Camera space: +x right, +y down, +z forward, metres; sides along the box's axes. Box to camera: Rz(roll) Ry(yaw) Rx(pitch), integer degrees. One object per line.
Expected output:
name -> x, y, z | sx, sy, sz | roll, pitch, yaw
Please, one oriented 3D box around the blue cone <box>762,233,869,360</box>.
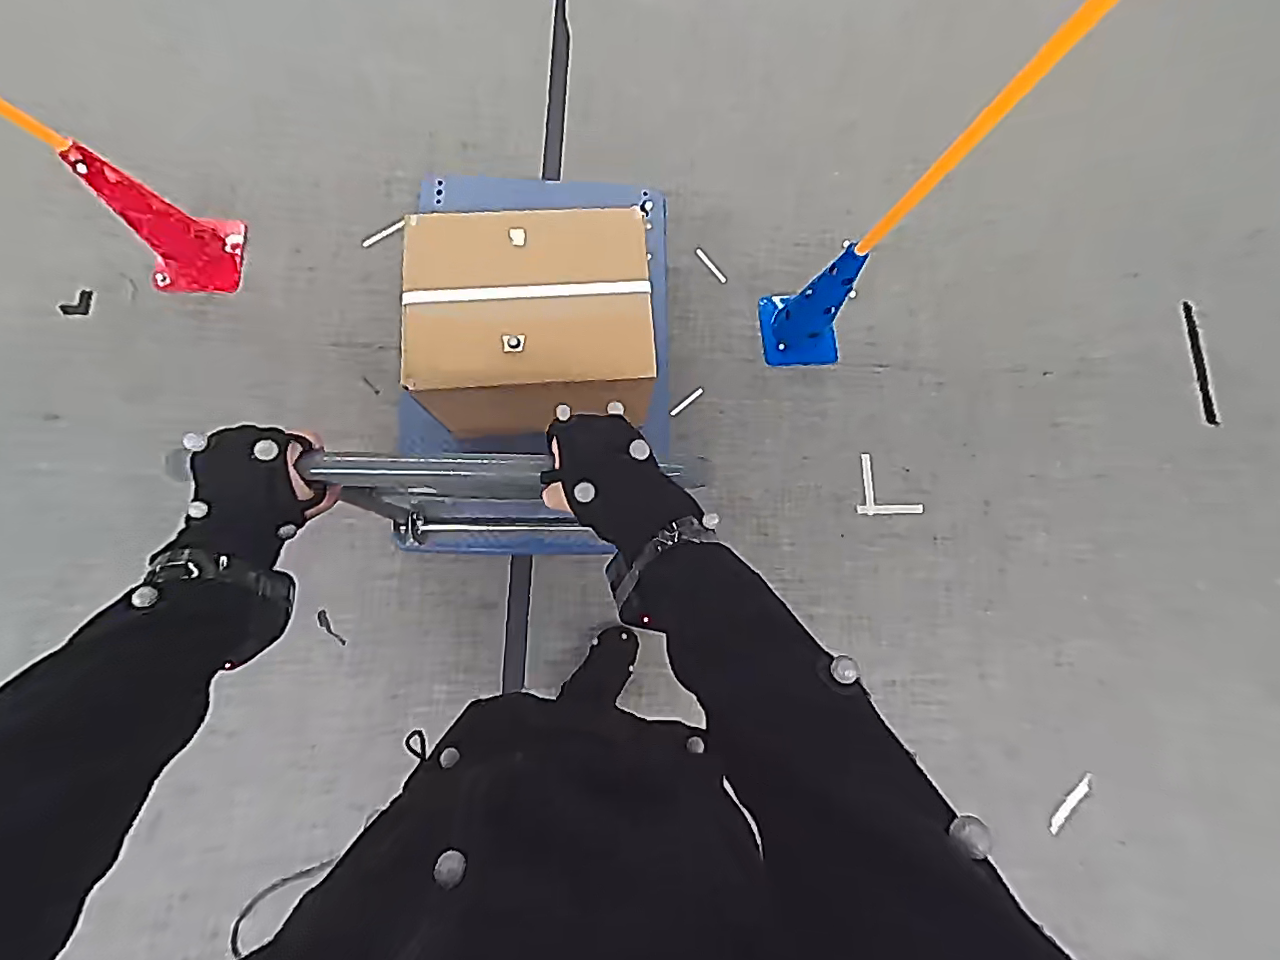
blue cone -> 0.439, -0.442, 1.280 | 0.193, 0.380, 0.192 | -2, 78, -5
